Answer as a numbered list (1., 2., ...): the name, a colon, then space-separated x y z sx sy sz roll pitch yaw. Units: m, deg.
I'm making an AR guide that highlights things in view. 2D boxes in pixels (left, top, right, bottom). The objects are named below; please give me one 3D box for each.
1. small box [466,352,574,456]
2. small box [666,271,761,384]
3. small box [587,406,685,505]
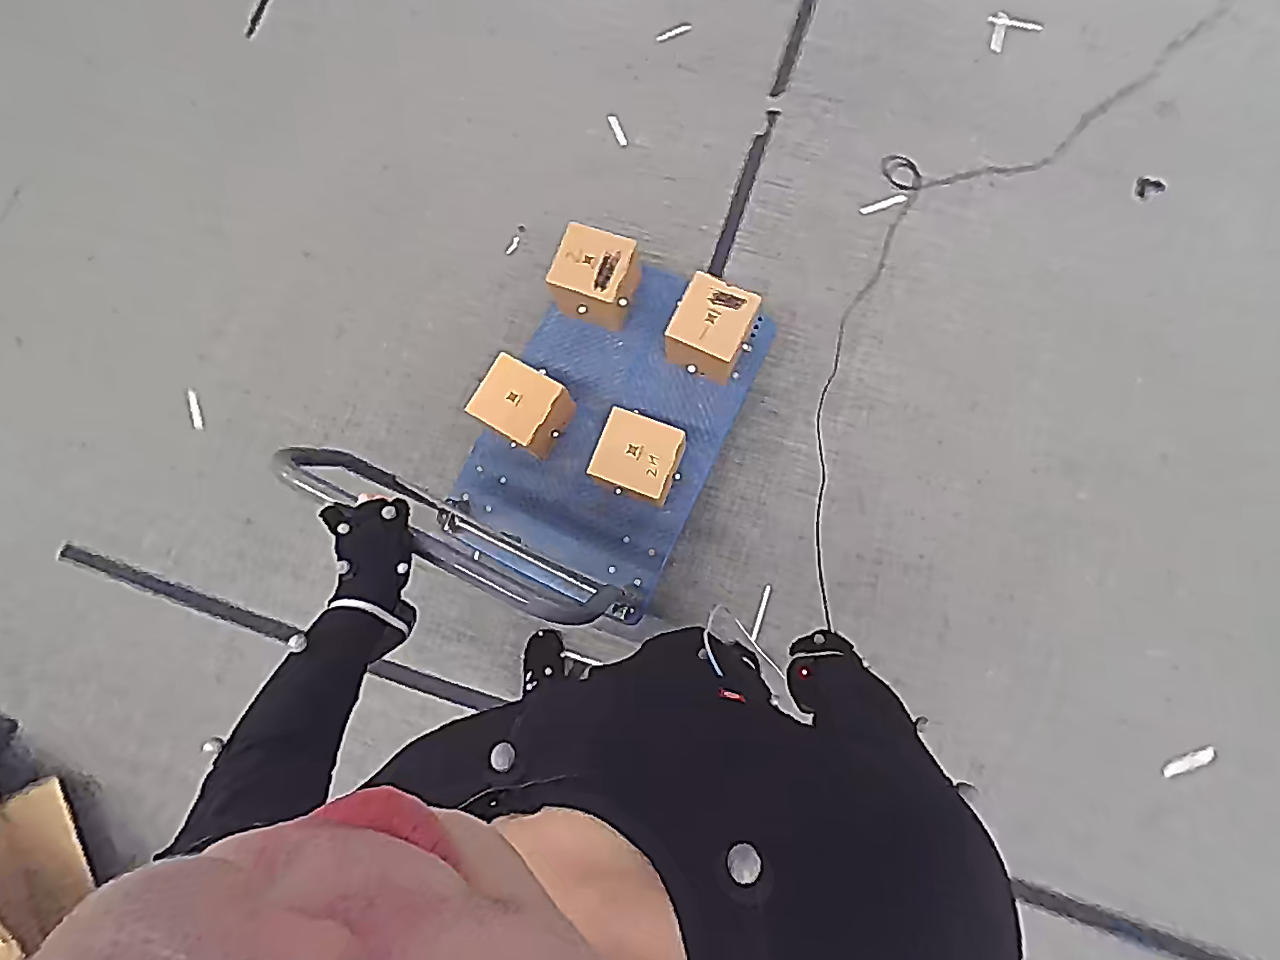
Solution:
1. small box: -0.283 -0.176 1.318 0.179 0.176 0.168 30 84 7
2. small box: 0.173 -0.362 1.312 0.168 0.176 0.179 26 85 8
3. small box: -0.004 -0.050 1.275 0.179 0.176 0.168 21 83 8
